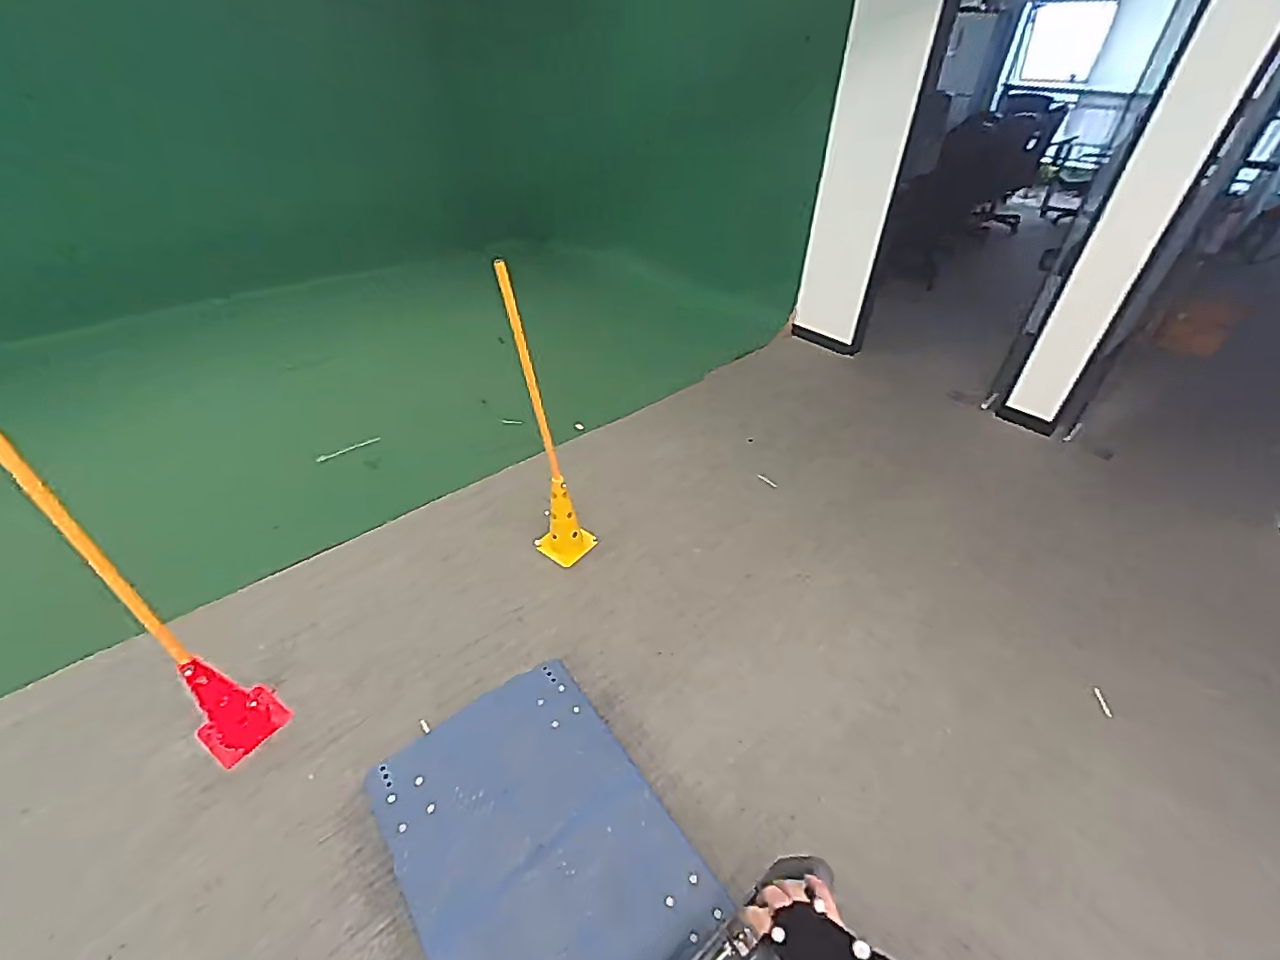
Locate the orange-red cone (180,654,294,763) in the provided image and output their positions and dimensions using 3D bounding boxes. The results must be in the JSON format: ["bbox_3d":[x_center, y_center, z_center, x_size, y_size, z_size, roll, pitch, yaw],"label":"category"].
[{"bbox_3d":[-1.206,0.616,1.556,0.198,0.360,0.199,24,47,27],"label":"orange-red cone"}]
